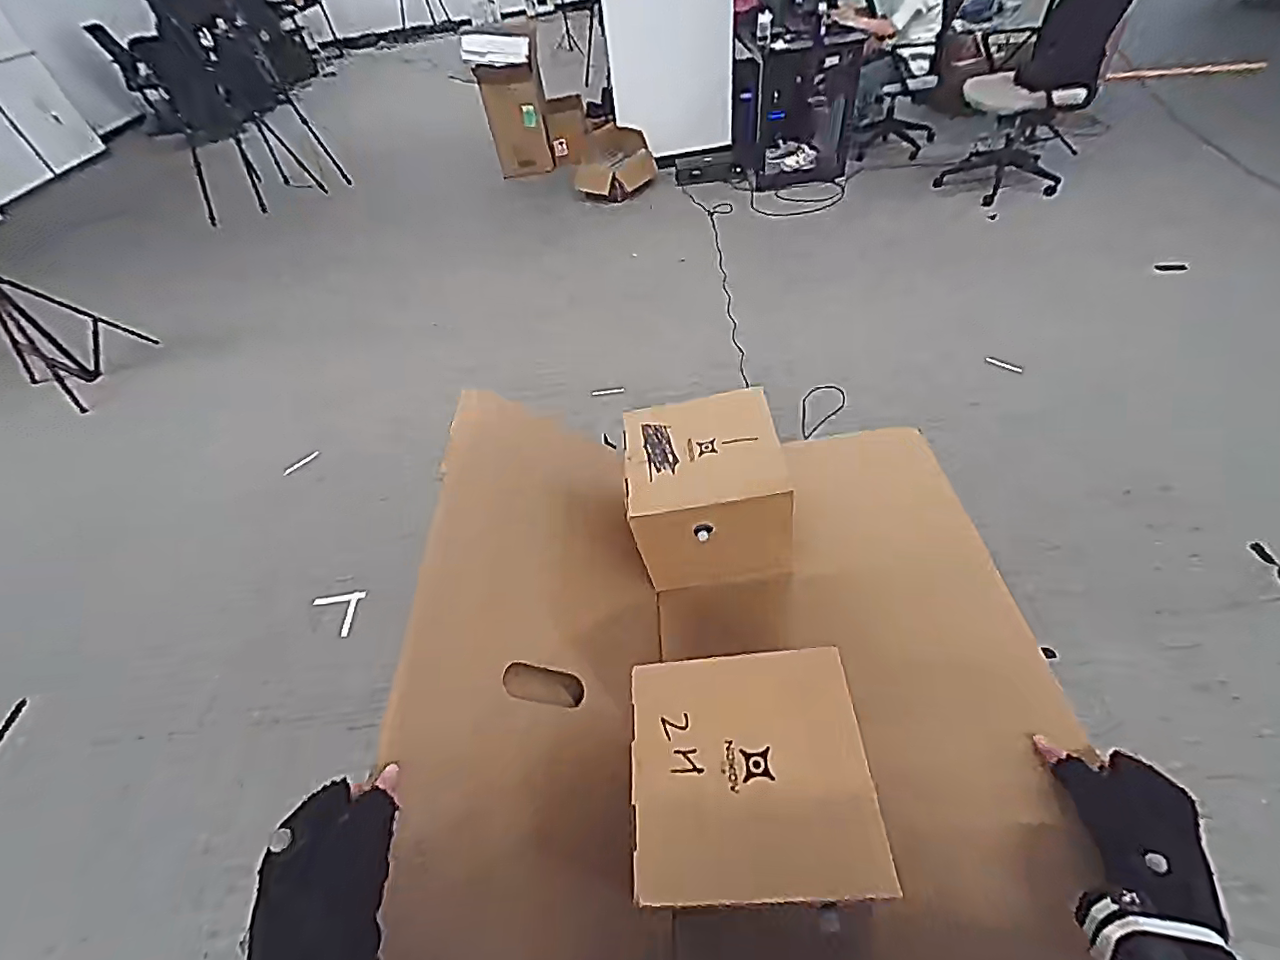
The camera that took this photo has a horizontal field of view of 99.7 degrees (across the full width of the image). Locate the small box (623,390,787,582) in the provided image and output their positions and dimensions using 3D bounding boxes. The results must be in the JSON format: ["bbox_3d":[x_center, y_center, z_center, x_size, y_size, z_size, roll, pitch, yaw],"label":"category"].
[{"bbox_3d":[0.083,0.015,0.687,0.179,0.176,0.168,-10,50,7],"label":"small box"}]
